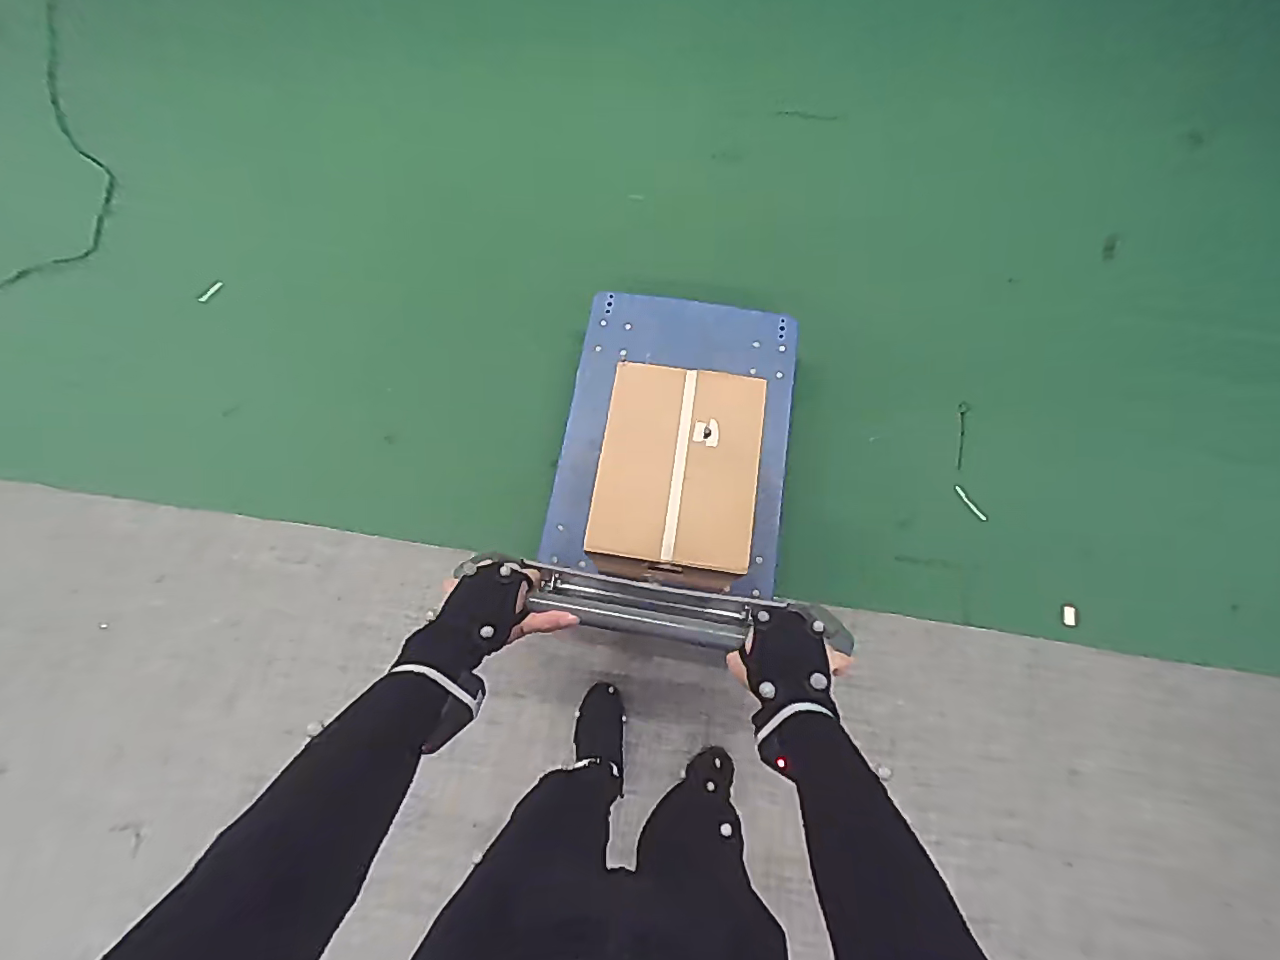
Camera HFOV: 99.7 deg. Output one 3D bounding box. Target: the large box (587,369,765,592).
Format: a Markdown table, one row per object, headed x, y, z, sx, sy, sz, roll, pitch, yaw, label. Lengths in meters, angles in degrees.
| x | y | z | sx | sy | sz | roll | pitch | yaw | label |
| --- | --- | --- | --- | --- | --- | --- | --- | --- | --- |
| 0.082 | 0.019 | 1.207 | 0.320 | 0.320 | 0.408 | 9 | 73 | 3 | large box |
